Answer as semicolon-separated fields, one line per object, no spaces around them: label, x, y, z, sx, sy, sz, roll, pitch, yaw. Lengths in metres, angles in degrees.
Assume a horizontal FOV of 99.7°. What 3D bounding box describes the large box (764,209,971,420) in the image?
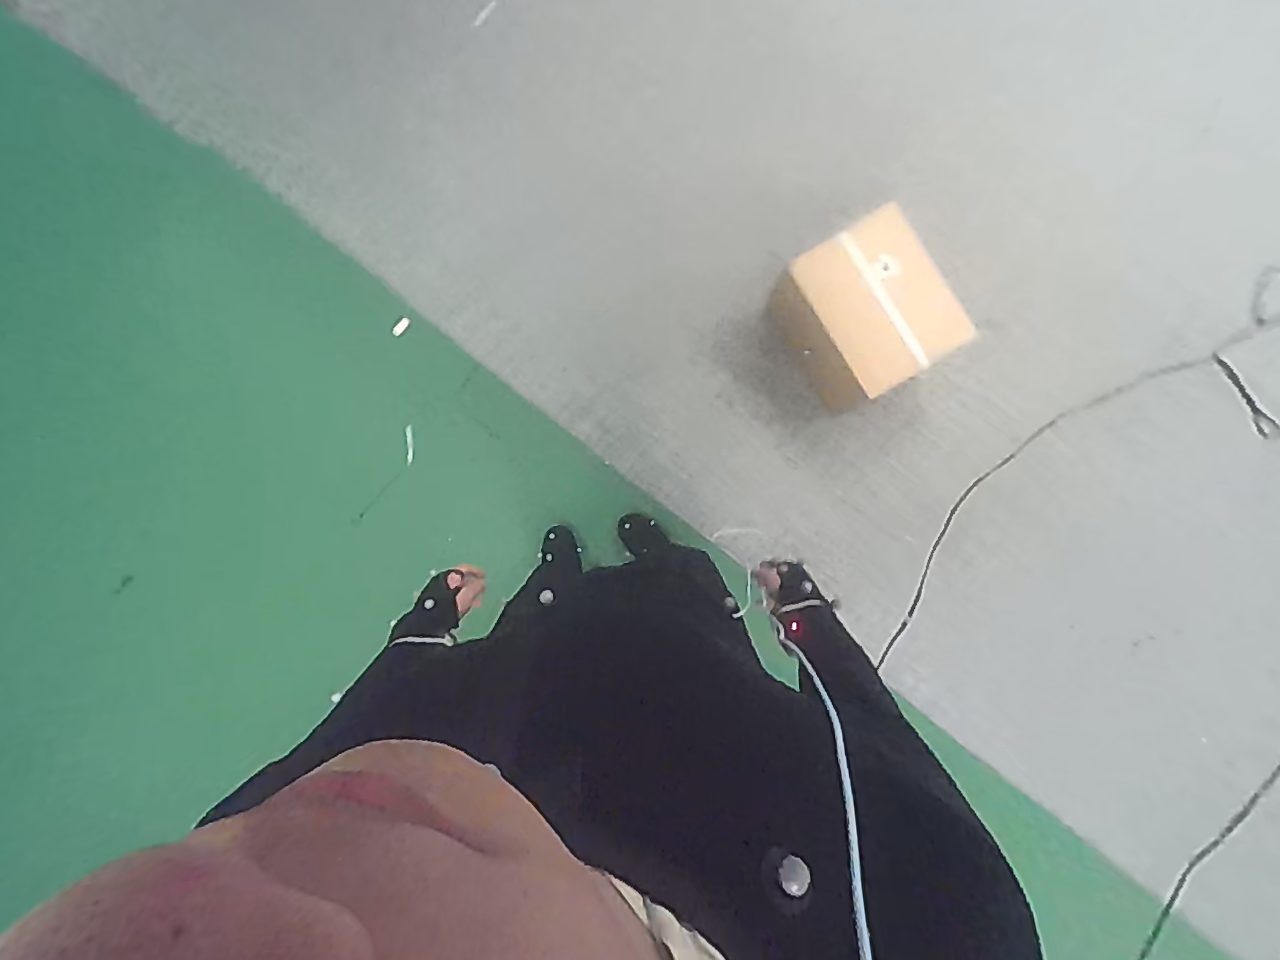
large box;0.595;-0.429;1.495;0.320;0.320;0.408;-31;85;1
